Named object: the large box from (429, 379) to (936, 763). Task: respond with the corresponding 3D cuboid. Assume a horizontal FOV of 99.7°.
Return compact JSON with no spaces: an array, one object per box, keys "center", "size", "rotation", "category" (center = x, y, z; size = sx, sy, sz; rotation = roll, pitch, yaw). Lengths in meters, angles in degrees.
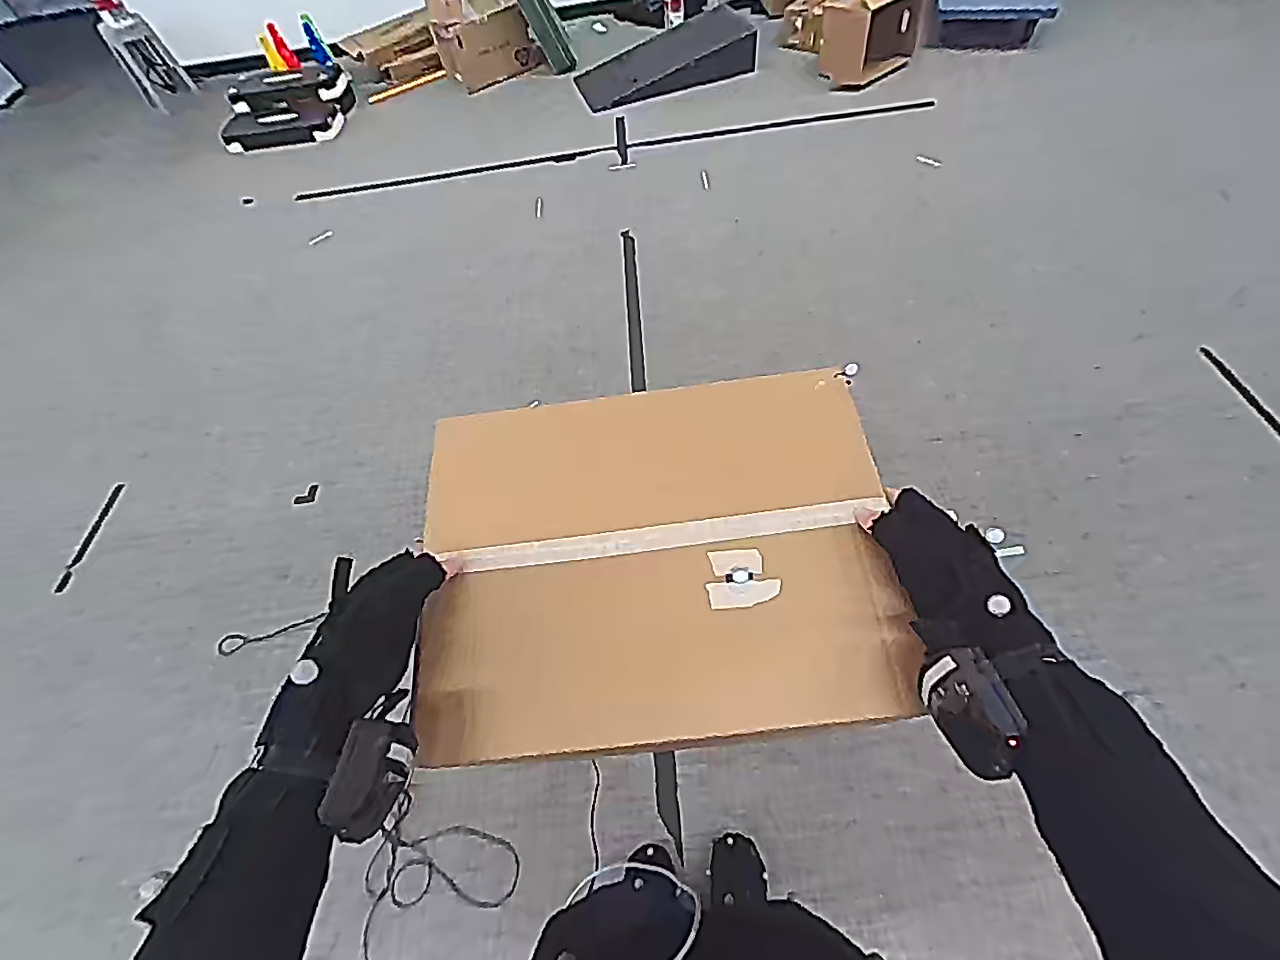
[{"center":[0.026,0.125,0.614],"size":[0.408,0.320,0.320],"rotation":[-7,63,1],"category":"large box"}]
